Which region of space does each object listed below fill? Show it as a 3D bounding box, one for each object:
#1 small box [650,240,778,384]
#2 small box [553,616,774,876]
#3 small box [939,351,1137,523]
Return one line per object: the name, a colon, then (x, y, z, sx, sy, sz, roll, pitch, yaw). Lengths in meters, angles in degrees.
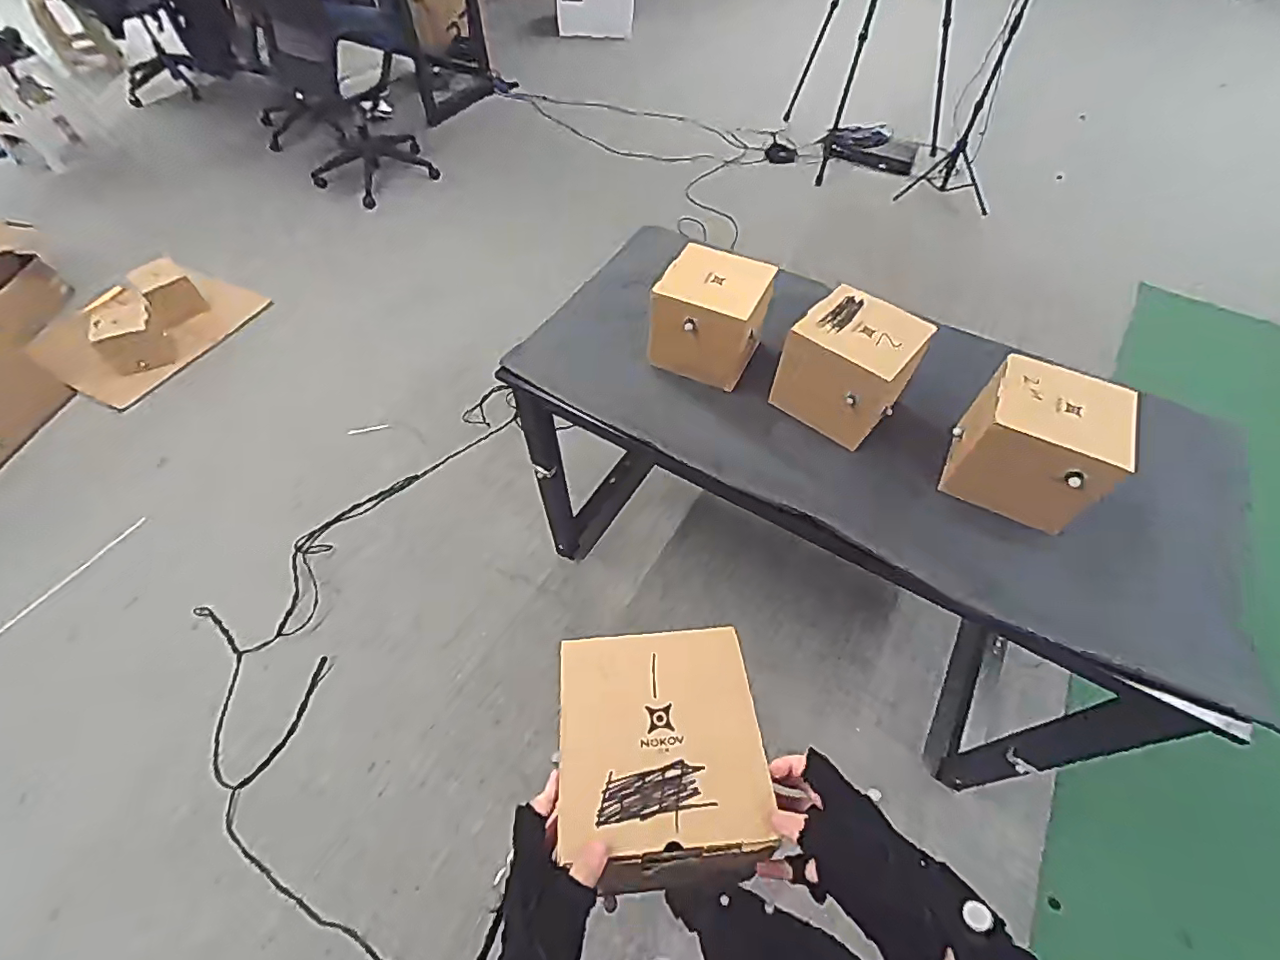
small box: (0.130, -0.302, 0.994, 0.179, 0.176, 0.168, 22, 58, 14)
small box: (0.013, 0.250, 0.504, 0.168, 0.176, 0.179, -3, 46, -4)
small box: (0.594, -0.058, 0.821, 0.179, 0.176, 0.168, 25, 58, 17)
